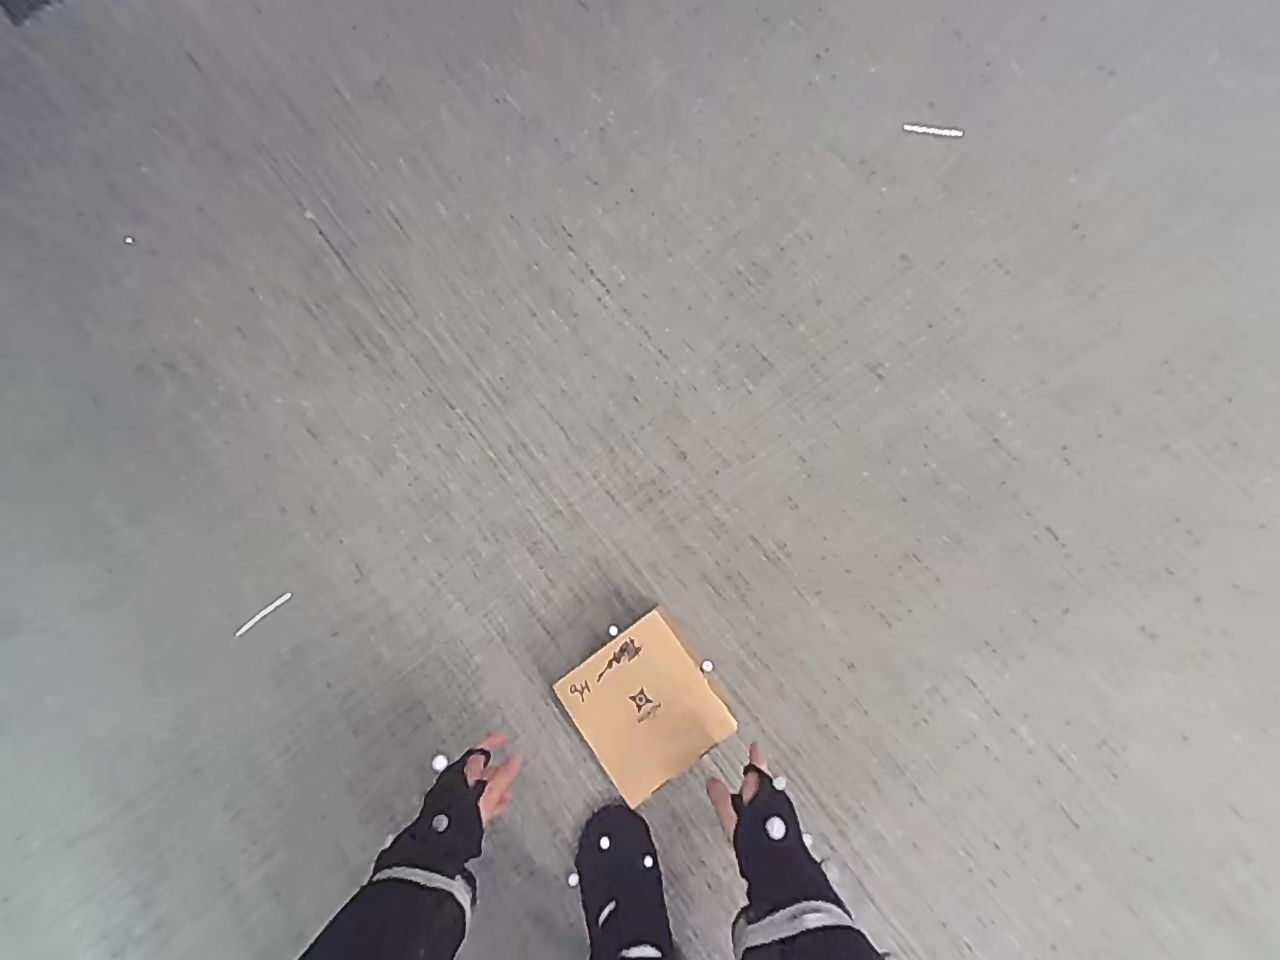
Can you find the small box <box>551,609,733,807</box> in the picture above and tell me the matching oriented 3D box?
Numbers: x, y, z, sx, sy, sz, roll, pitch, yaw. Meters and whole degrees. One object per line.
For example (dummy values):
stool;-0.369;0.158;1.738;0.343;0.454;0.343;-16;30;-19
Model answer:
small box;0.008;0.295;0.747;0.168;0.176;0.179;-36;79;-3
